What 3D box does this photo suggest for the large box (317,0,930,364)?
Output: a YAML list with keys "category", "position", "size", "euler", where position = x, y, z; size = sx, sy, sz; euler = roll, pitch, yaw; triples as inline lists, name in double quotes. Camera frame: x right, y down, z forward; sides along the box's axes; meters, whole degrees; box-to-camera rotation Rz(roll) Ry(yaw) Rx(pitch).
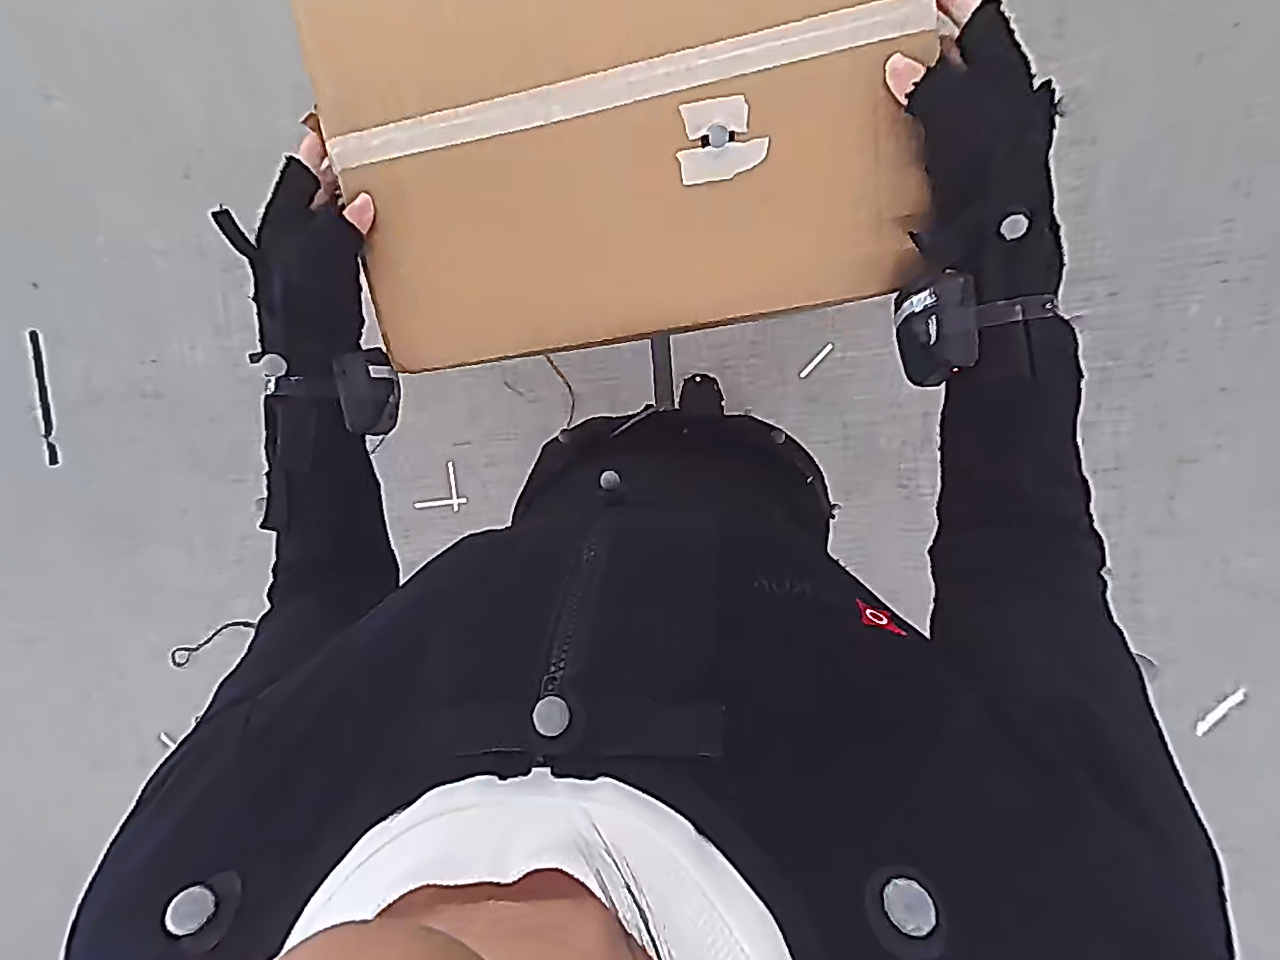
- category: "large box"
  position: [-0.001, -0.305, 0.515]
  size: [0.408, 0.320, 0.320]
  euler: [-8, 105, 8]
